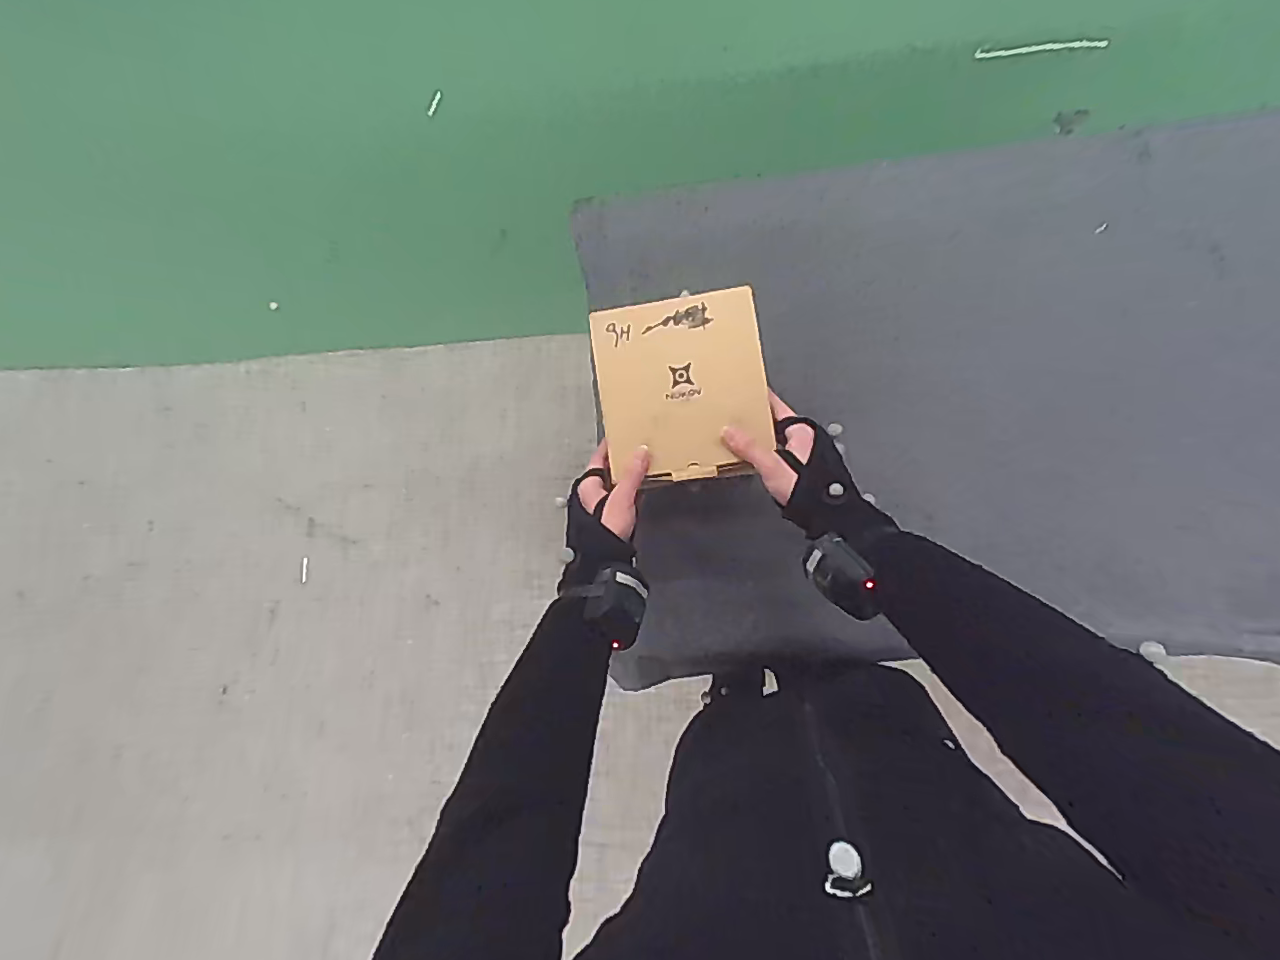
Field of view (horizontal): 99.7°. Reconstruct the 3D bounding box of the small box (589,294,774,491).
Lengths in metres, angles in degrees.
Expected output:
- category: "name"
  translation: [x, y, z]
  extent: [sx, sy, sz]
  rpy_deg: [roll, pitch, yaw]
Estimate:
- category: "small box"
  translation: [0.048, -0.084, 0.611]
  extent: [0.168, 0.176, 0.179]
  rpy_deg: [-9, 86, 5]
